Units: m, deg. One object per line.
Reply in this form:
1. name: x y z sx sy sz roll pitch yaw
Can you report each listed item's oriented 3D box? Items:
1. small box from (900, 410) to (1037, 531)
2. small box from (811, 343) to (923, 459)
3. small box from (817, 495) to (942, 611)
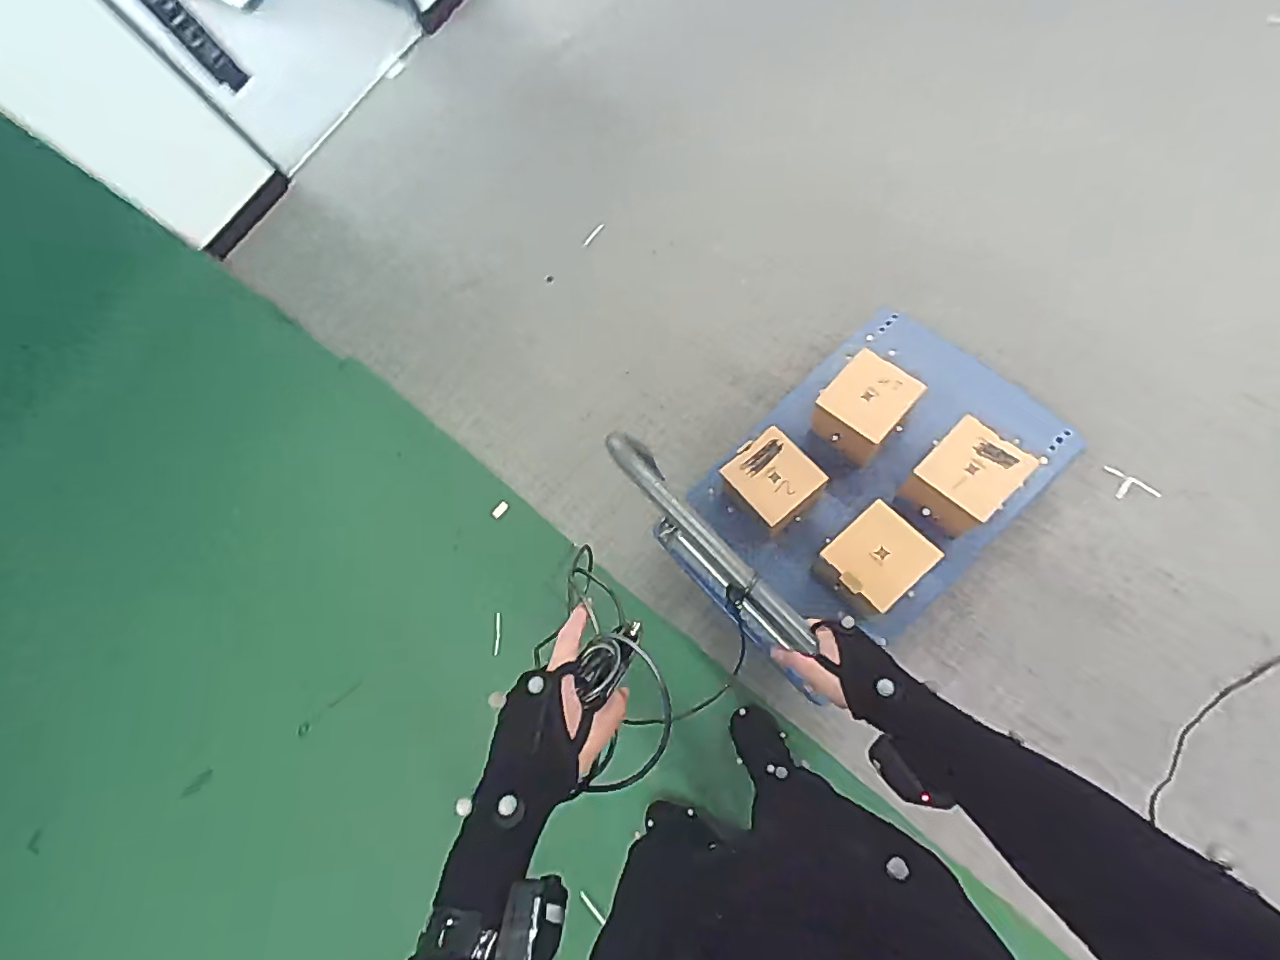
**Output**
1. small box: 0.699 -0.014 1.176 0.179 0.176 0.168 -46 68 -2
2. small box: 0.521 -0.177 1.268 0.168 0.176 0.179 41 86 20
3. small box: 0.504 0.164 1.171 0.179 0.176 0.168 -43 69 -1
